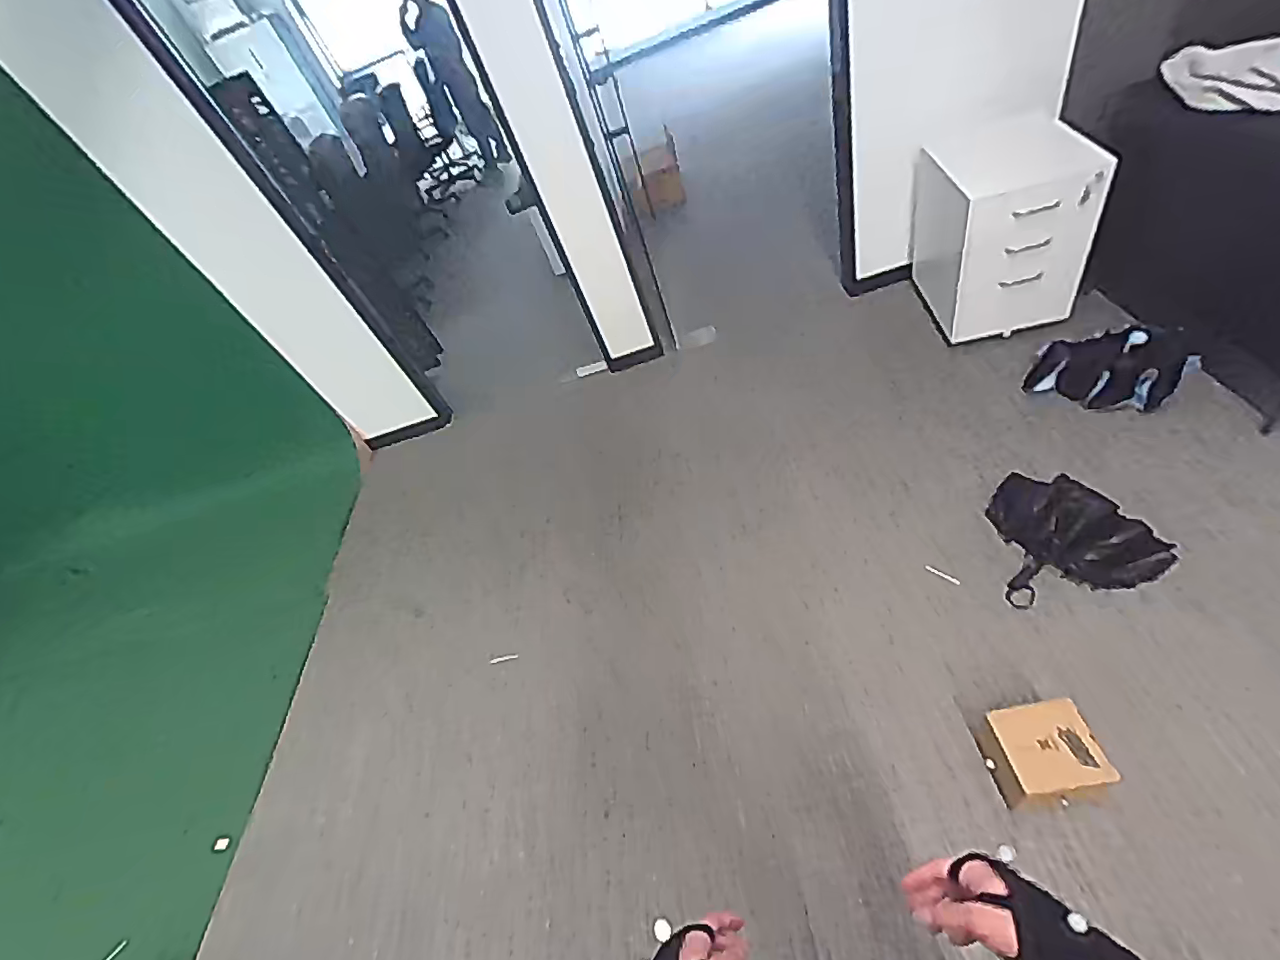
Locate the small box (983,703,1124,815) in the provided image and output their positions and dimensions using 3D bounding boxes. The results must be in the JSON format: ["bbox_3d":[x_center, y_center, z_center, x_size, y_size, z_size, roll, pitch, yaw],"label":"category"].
[{"bbox_3d":[0.880,0.608,1.173,0.179,0.176,0.168,-17,45,12],"label":"small box"}]
